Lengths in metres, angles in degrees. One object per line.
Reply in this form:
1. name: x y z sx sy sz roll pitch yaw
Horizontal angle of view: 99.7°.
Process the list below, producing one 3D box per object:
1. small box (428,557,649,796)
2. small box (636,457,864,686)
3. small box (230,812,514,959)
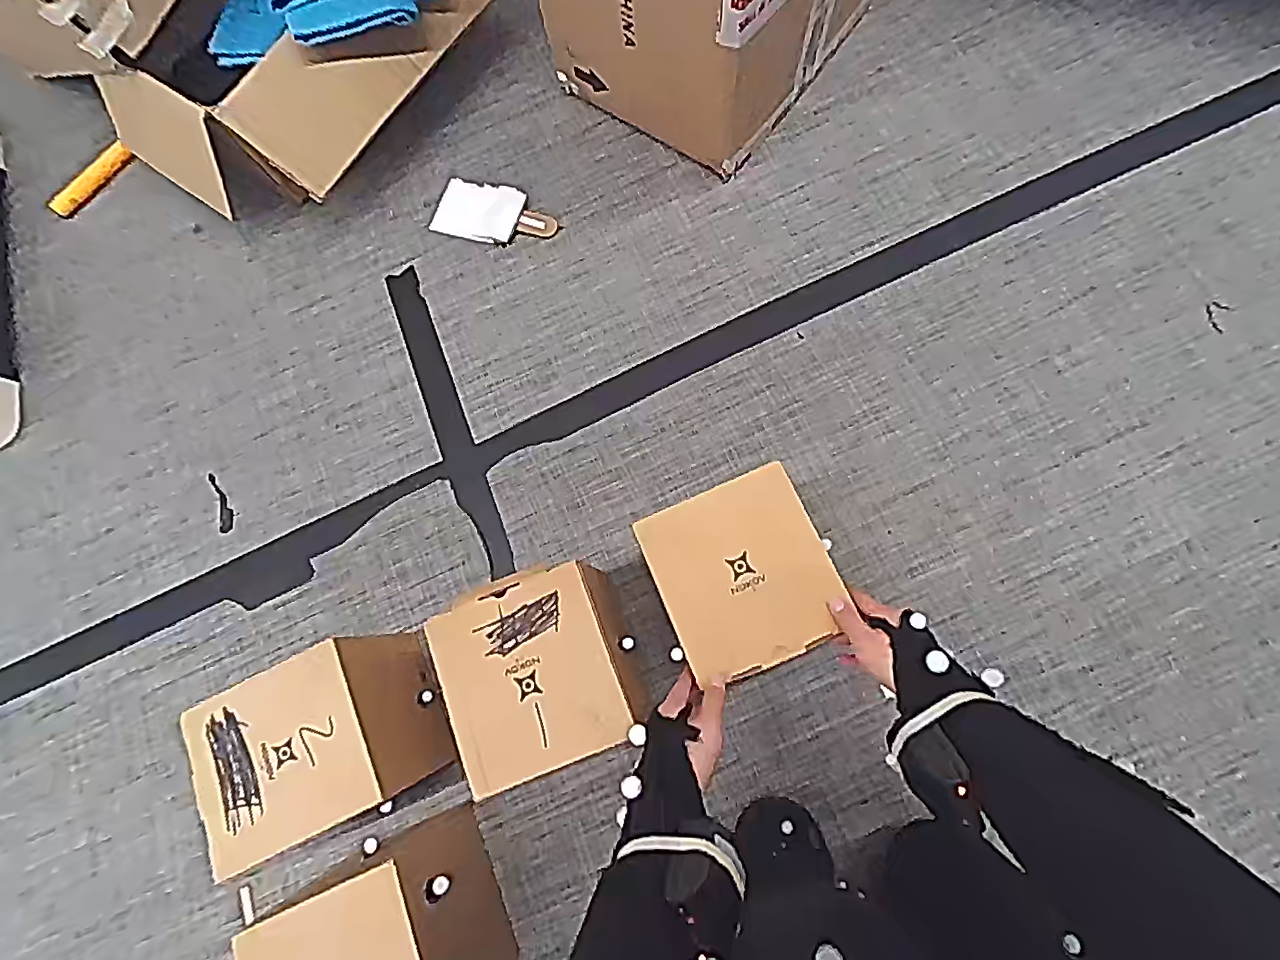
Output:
1. small box: -0.098 0.200 0.587 0.168 0.176 0.179 -22 76 0
2. small box: 0.107 0.102 0.593 0.168 0.176 0.179 -24 76 -1
3. small box: -0.250 0.464 0.537 0.168 0.176 0.179 -25 75 0
